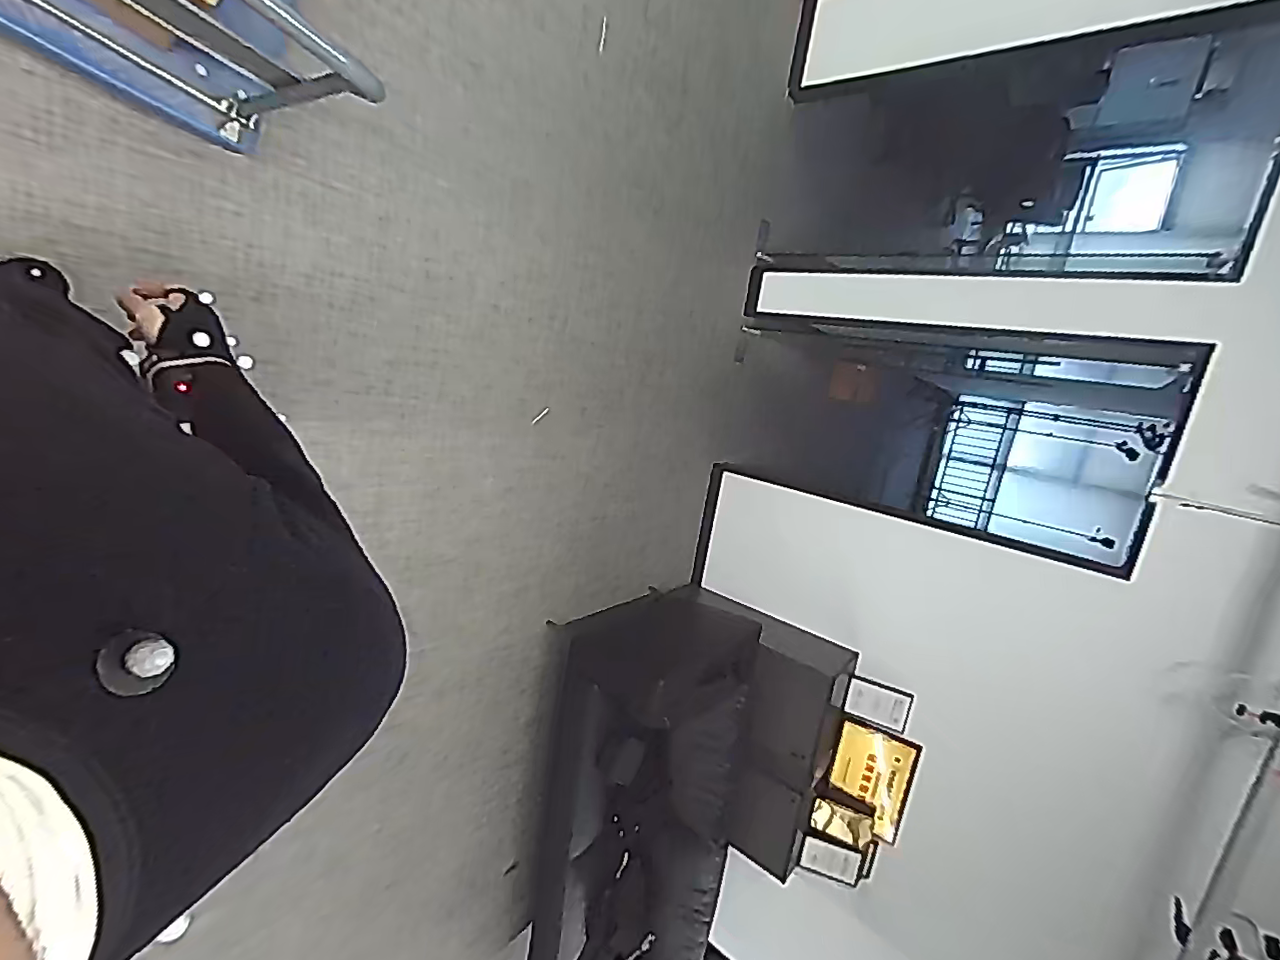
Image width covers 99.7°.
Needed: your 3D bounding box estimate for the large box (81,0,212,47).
[{"bbox_3d":[-0.822,-0.984,0.802,0.320,0.320,0.408,14,92,-55],"label":"large box"}]
